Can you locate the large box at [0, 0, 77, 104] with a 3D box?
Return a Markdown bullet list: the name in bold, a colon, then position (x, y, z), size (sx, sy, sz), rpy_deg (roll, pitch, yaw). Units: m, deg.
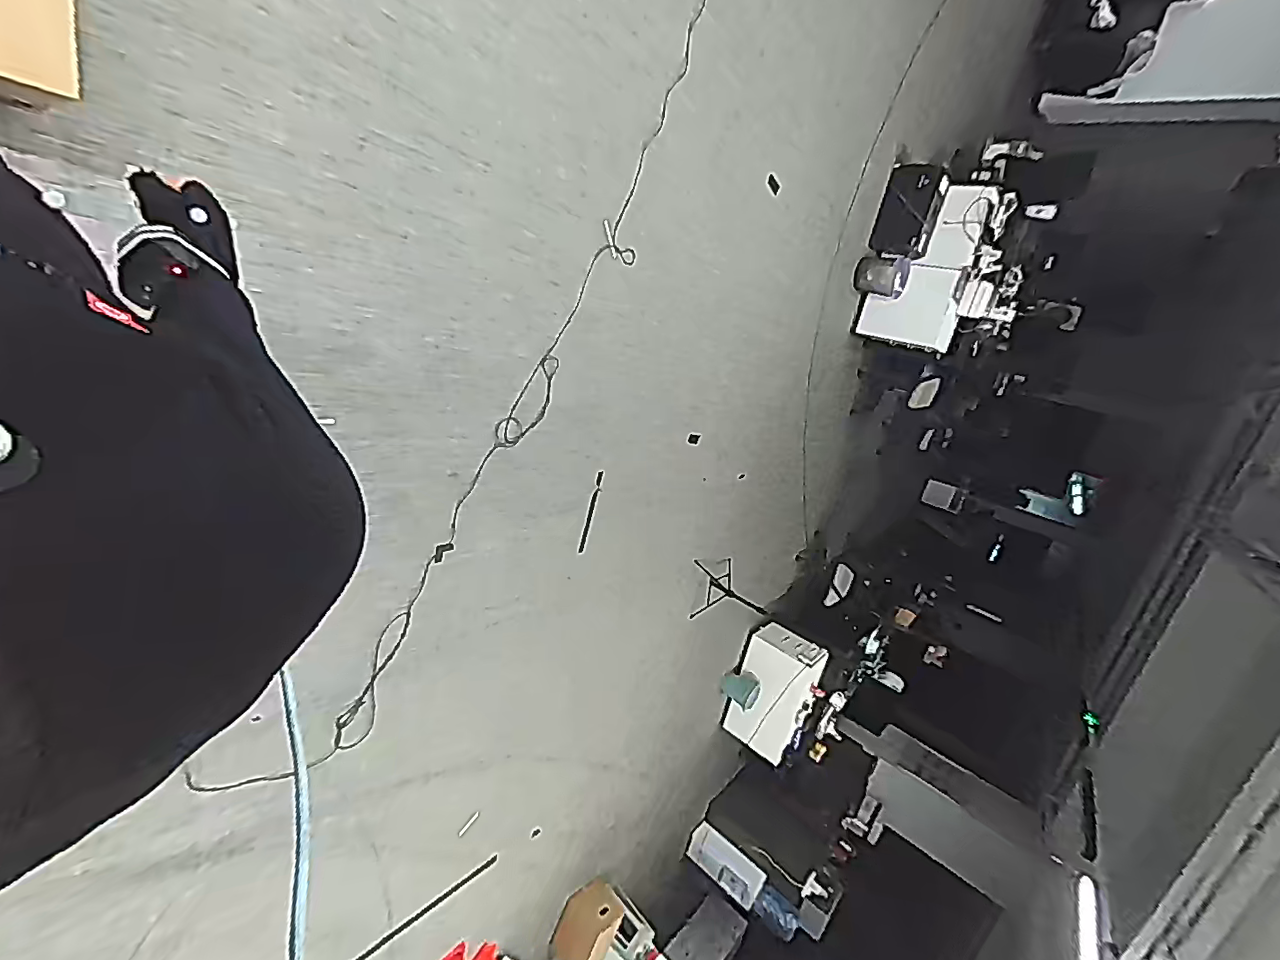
- **large box**: position (-0.997, -0.707, 0.641), size (0.408, 0.320, 0.320), rpy_deg (-10, 118, -52)
